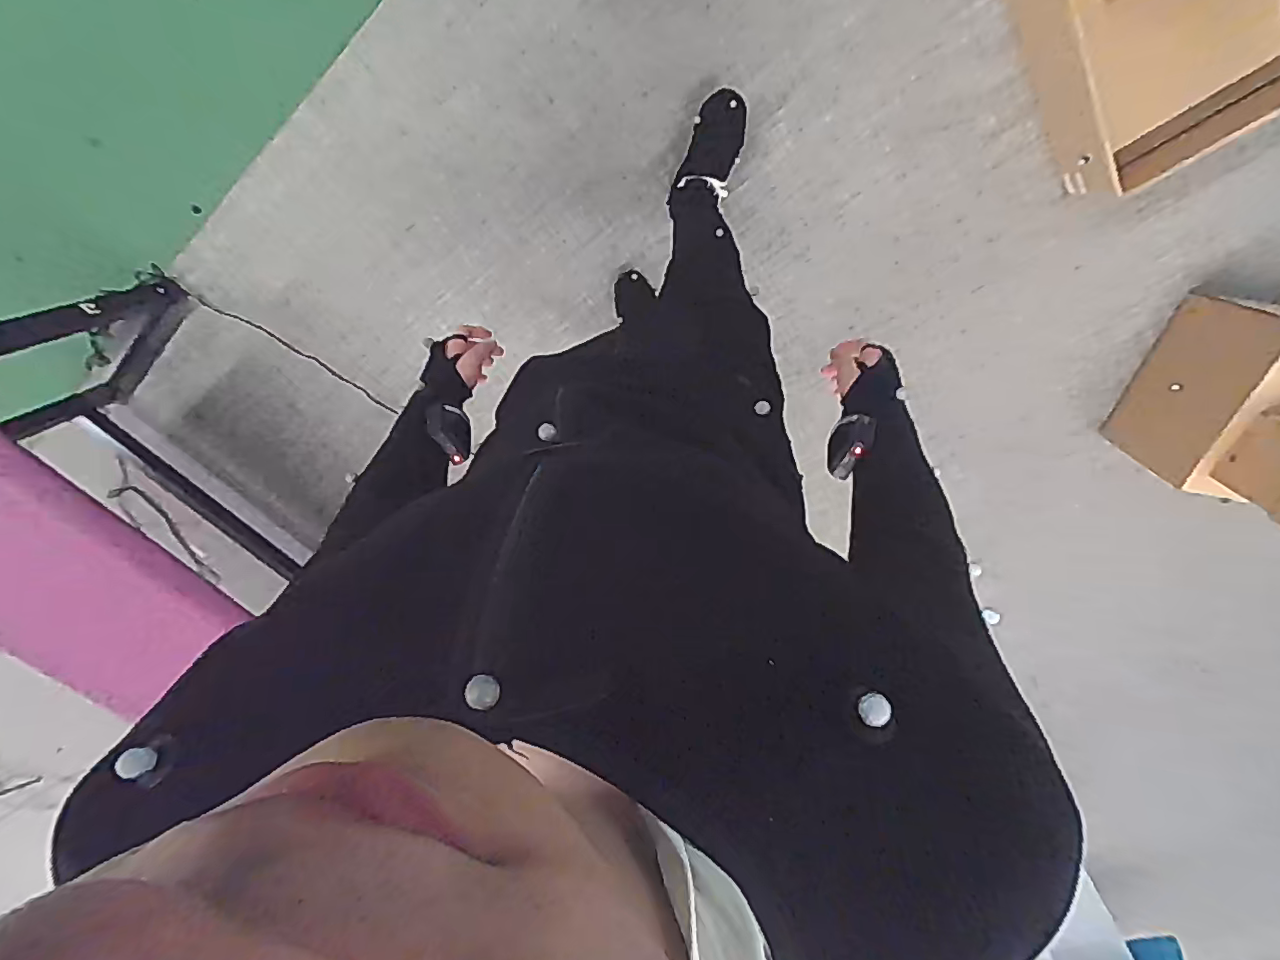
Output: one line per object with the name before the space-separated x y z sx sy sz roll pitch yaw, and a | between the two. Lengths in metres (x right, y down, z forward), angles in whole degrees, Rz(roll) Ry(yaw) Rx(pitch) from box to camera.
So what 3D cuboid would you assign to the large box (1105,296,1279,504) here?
large box | 1.471 -0.195 1.309 0.320 0.320 0.408 8 120 1
